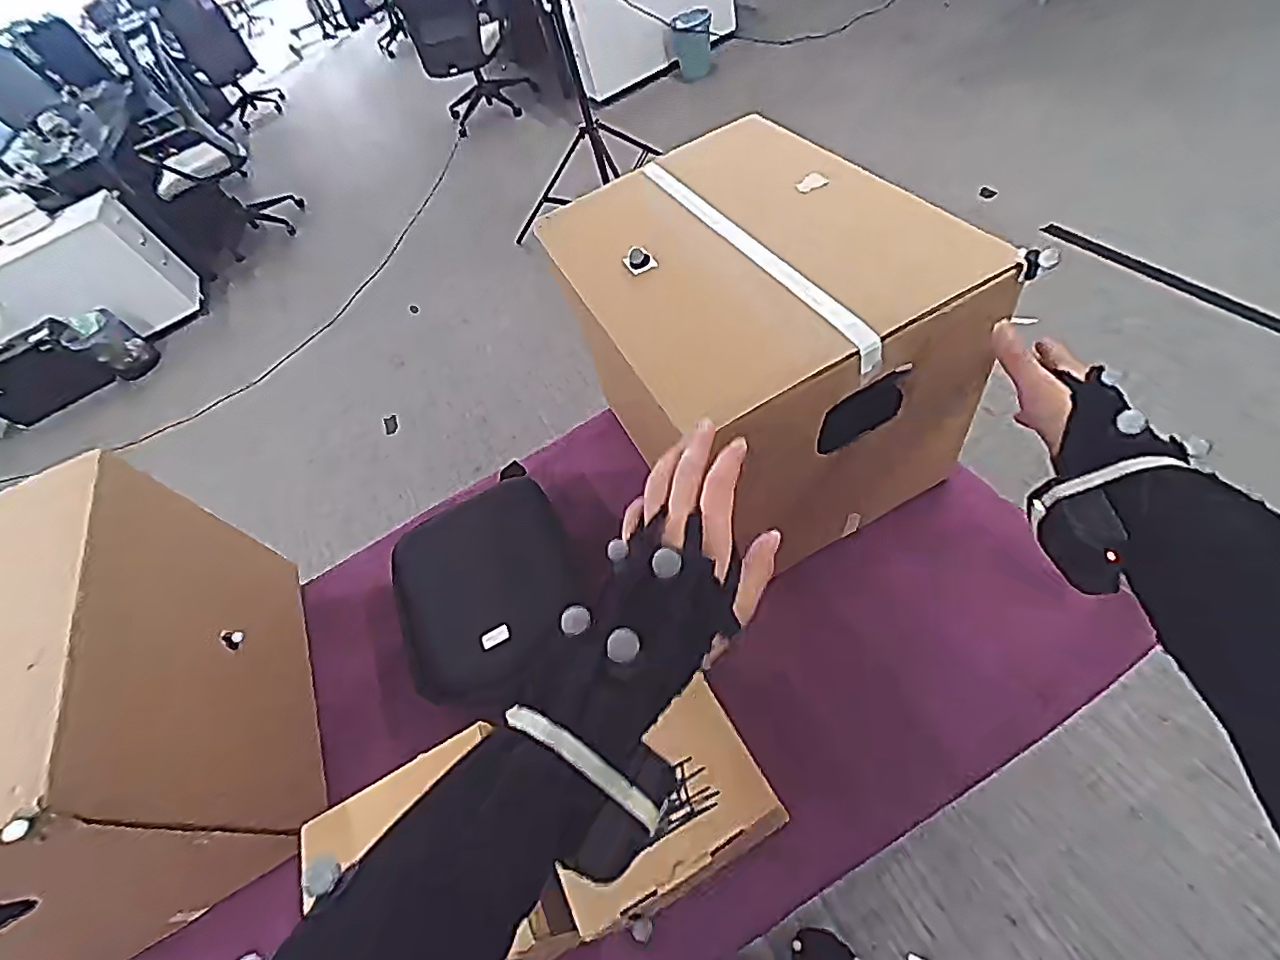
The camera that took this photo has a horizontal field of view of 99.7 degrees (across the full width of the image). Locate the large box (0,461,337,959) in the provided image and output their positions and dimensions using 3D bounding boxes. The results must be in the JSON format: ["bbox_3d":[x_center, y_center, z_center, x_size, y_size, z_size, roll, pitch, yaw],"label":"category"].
[{"bbox_3d":[-0.600,0.262,0.597,0.320,0.320,0.408,-31,55,-7],"label":"large box"}]
